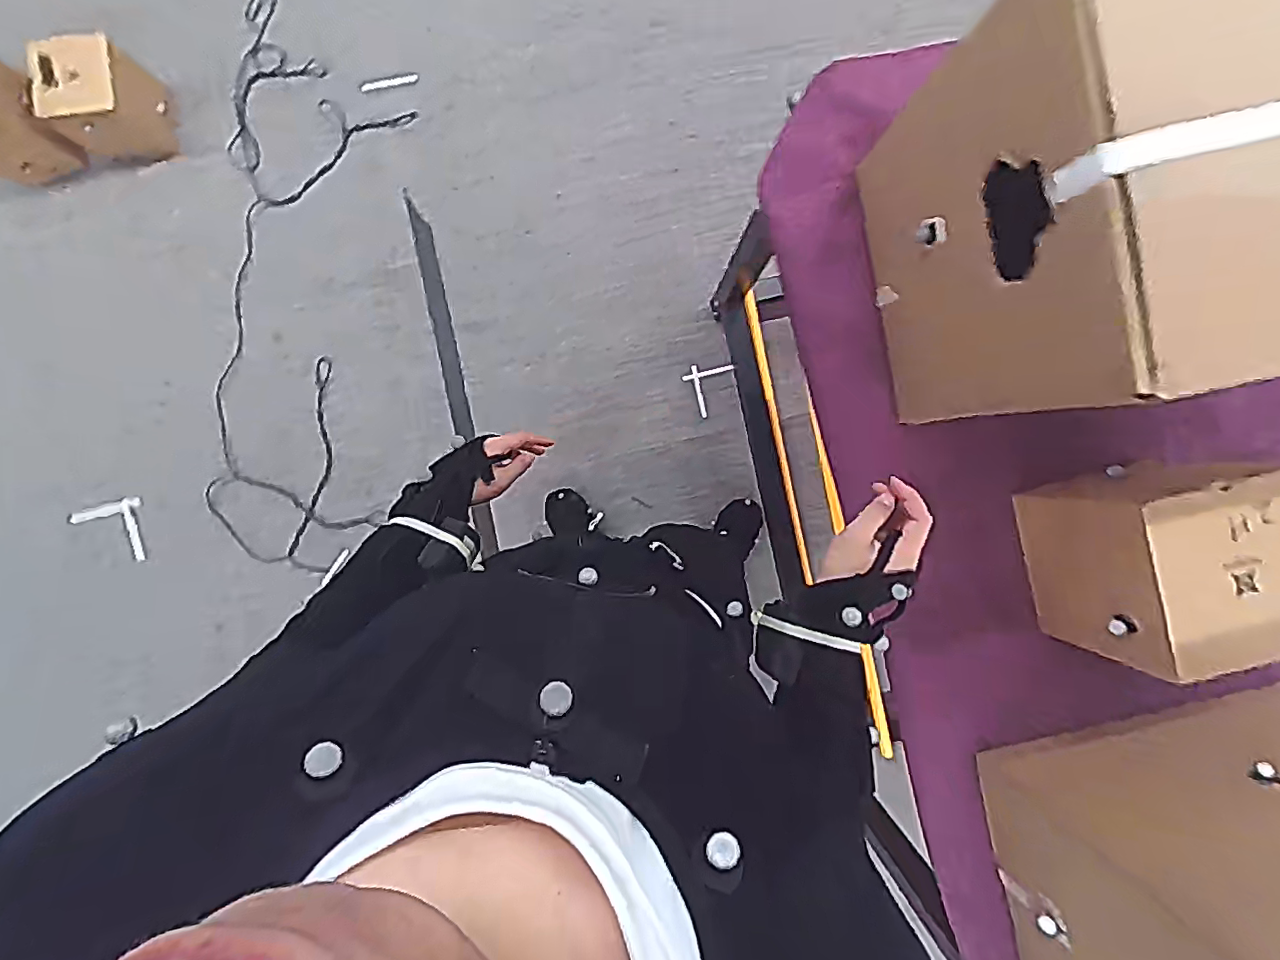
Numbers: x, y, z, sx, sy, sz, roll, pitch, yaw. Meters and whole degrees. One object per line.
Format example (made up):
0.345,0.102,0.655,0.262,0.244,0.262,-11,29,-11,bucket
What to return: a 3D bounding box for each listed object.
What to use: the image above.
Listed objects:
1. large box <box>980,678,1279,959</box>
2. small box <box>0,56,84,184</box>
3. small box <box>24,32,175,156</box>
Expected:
0.635,0.431,0.510,0.408,0.320,0.320,-13,92,-3,large box
-1.459,-0.827,1.242,0.168,0.176,0.179,-19,92,-1,small box
-1.231,-0.876,1.243,0.179,0.176,0.168,-6,91,-1,small box
